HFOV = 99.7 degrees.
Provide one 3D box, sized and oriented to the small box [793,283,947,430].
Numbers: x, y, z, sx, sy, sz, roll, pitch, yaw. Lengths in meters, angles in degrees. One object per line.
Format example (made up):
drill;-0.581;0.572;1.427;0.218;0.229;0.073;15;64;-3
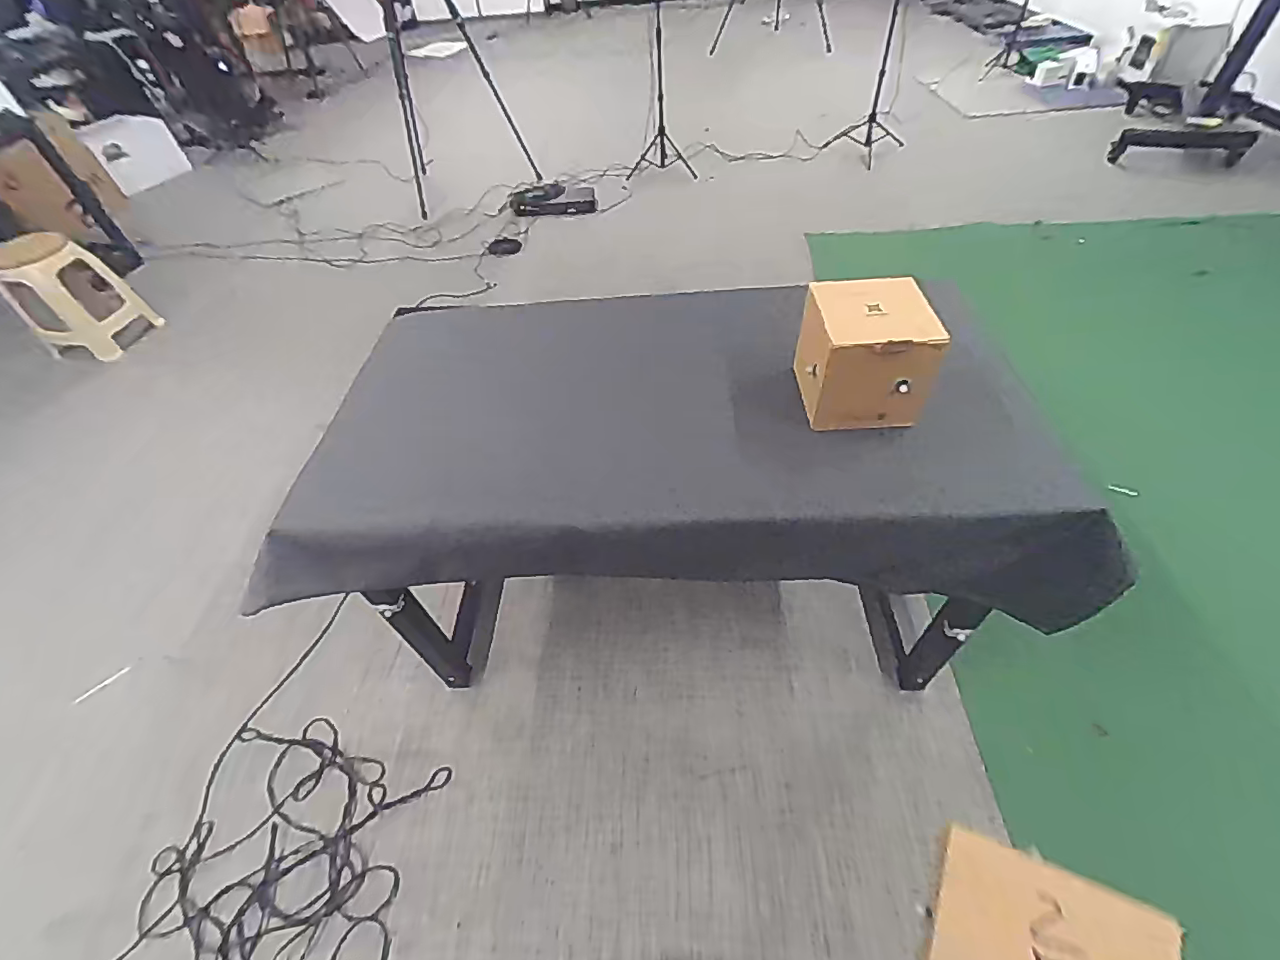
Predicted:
small box;0.352;-0.192;0.866;0.168;0.176;0.179;-2;47;2
